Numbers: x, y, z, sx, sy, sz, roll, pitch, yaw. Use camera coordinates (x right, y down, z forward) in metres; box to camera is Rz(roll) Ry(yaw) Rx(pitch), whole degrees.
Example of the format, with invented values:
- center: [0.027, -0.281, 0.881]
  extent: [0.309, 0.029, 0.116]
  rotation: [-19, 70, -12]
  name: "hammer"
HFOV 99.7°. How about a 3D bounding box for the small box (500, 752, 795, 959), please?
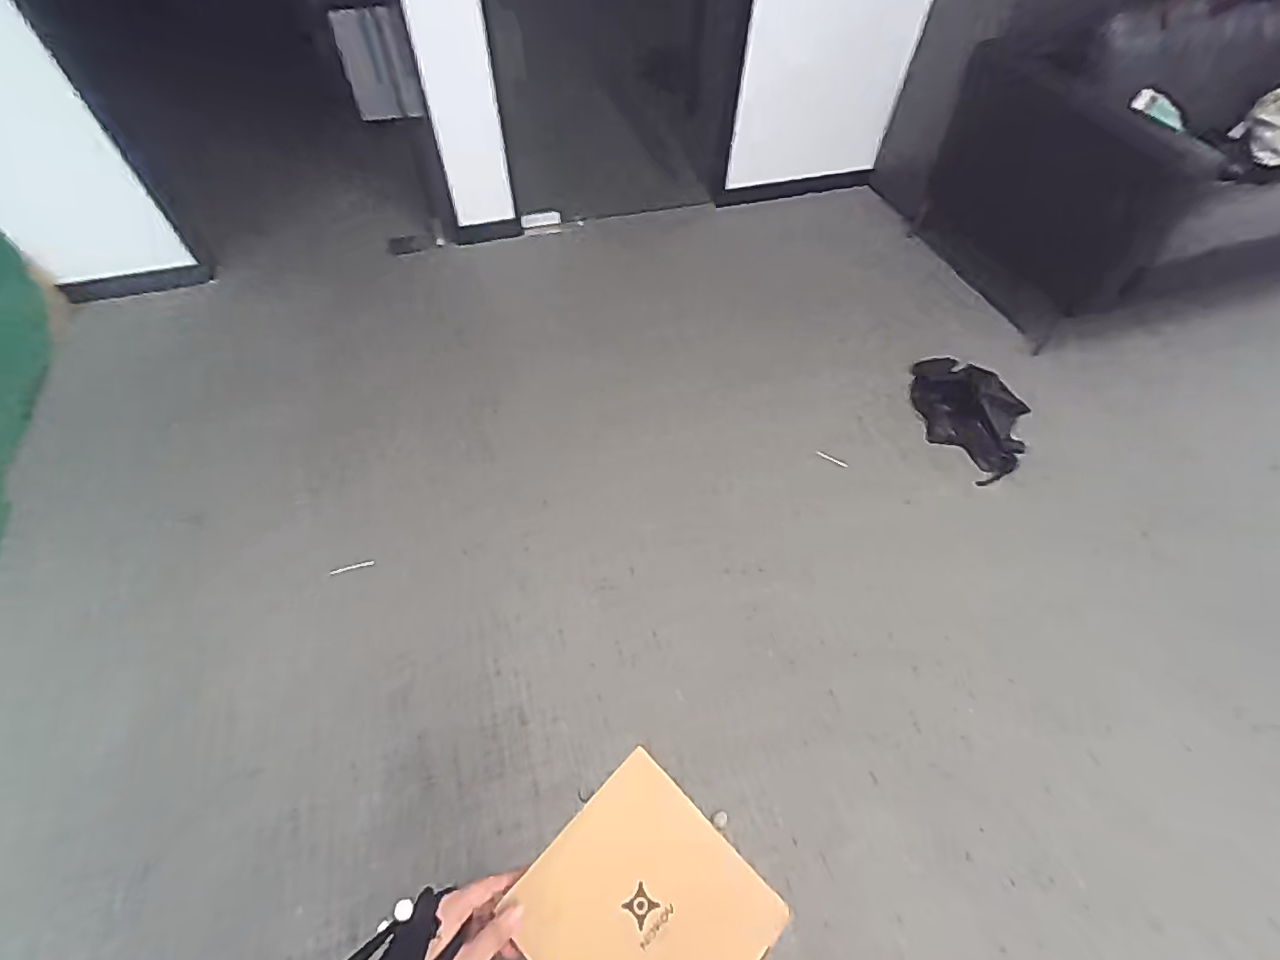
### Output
- center: [0.001, 0.385, 0.489]
  extent: [0.179, 0.176, 0.168]
  rotation: [40, 63, 18]
  name: "small box"
